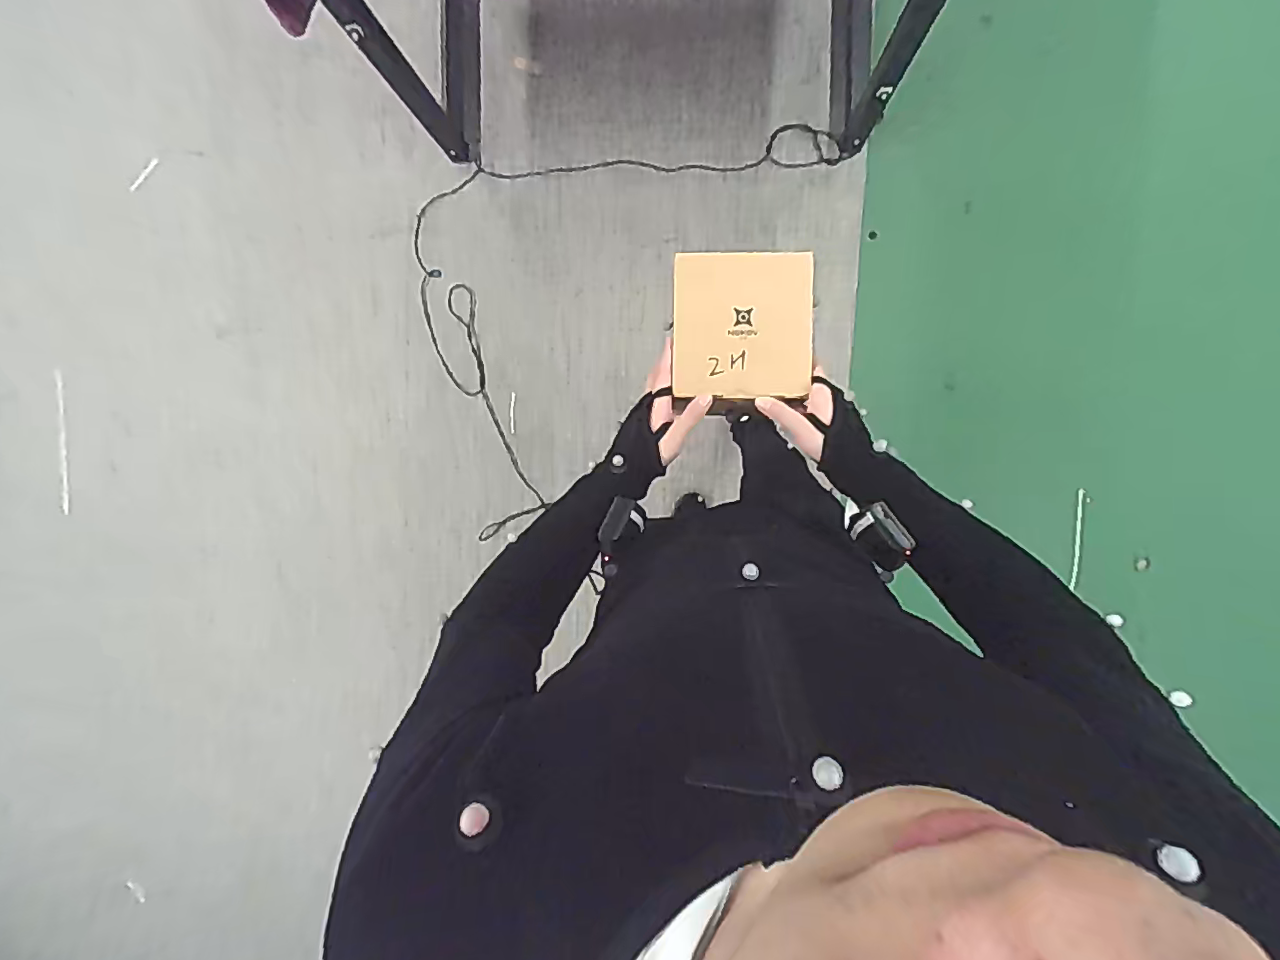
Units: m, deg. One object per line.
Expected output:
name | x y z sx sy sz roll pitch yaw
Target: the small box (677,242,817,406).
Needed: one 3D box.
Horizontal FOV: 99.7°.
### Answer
small box | 0.133 -0.196 0.724 0.168 0.176 0.179 -2 93 5
